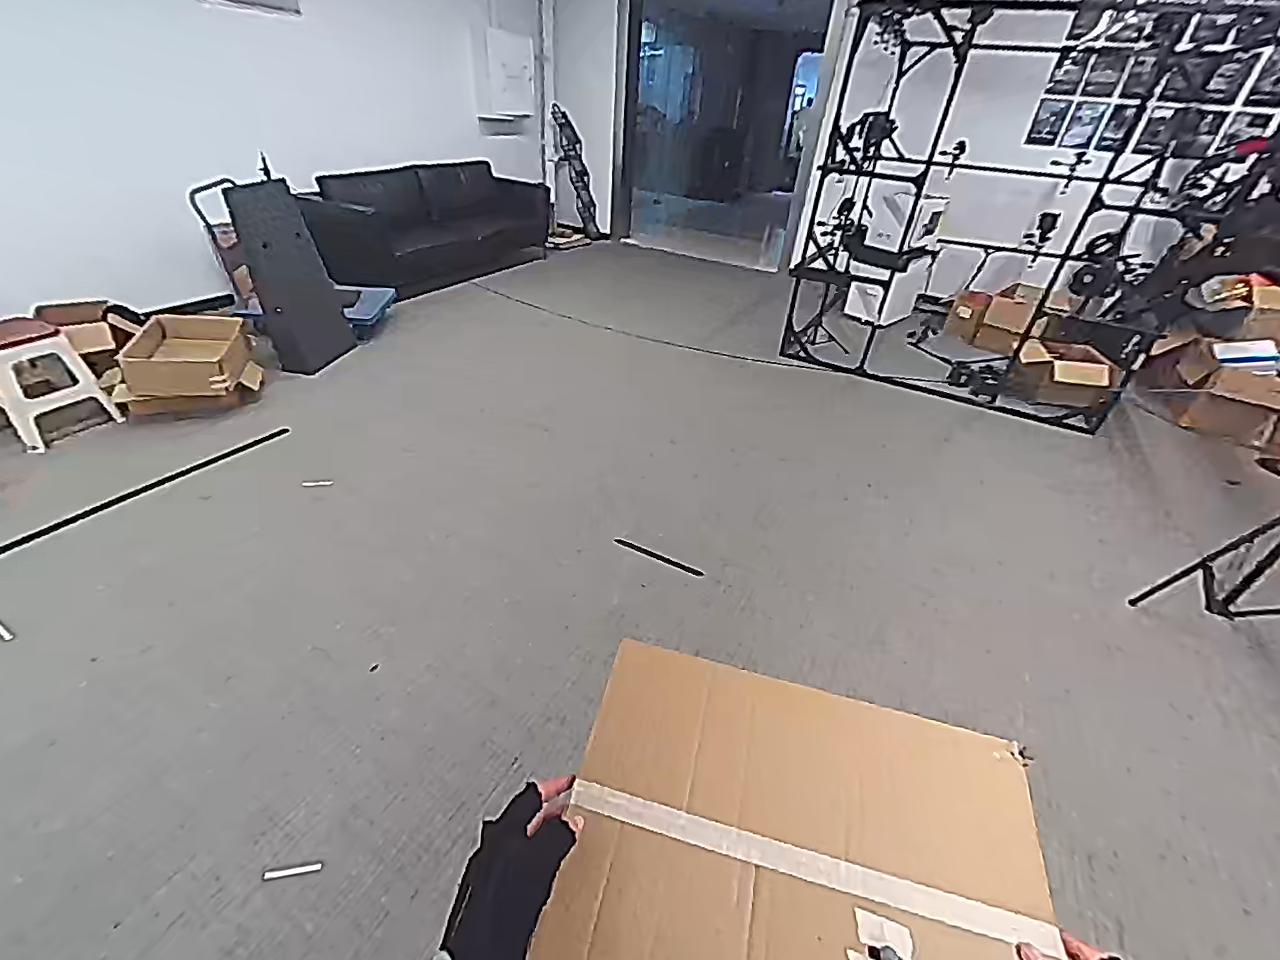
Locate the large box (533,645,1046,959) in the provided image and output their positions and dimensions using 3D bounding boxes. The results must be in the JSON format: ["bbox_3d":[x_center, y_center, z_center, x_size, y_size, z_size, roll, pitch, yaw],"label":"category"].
[{"bbox_3d":[0.132,0.430,0.584,0.408,0.320,0.320,13,48,9],"label":"large box"}]
